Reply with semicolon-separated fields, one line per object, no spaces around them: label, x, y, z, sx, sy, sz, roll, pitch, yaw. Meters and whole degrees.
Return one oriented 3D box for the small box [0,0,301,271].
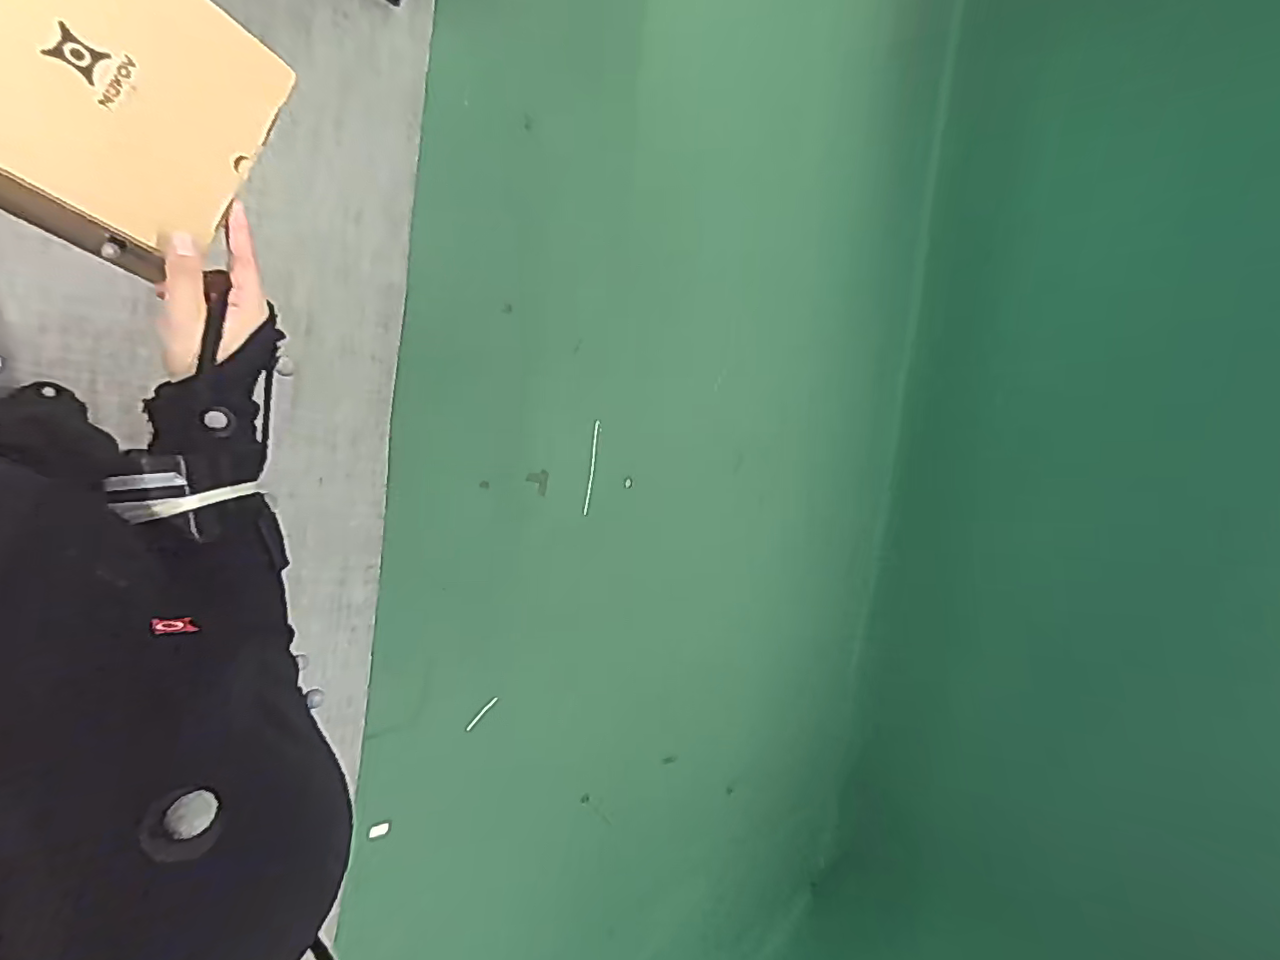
small box;-0.383;-0.265;0.374;0.179;0.176;0.168;29;78;-47
